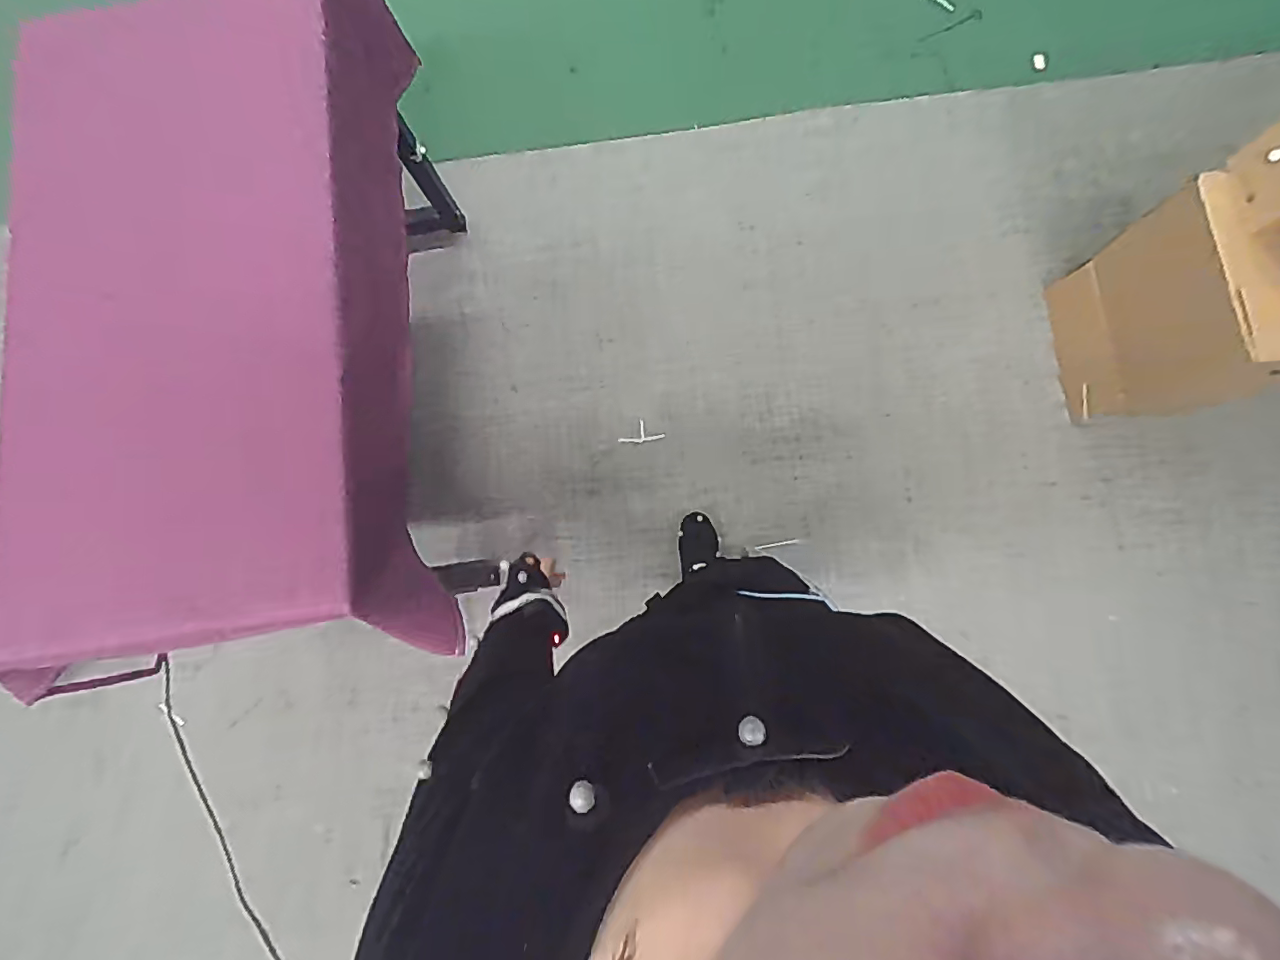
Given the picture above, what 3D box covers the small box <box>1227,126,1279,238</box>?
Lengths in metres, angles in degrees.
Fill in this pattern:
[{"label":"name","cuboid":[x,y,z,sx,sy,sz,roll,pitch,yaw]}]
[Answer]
[{"label":"small box","cuboid":[1.265,-0.574,1.007,0.179,0.176,0.168,-4,81,3]}]
